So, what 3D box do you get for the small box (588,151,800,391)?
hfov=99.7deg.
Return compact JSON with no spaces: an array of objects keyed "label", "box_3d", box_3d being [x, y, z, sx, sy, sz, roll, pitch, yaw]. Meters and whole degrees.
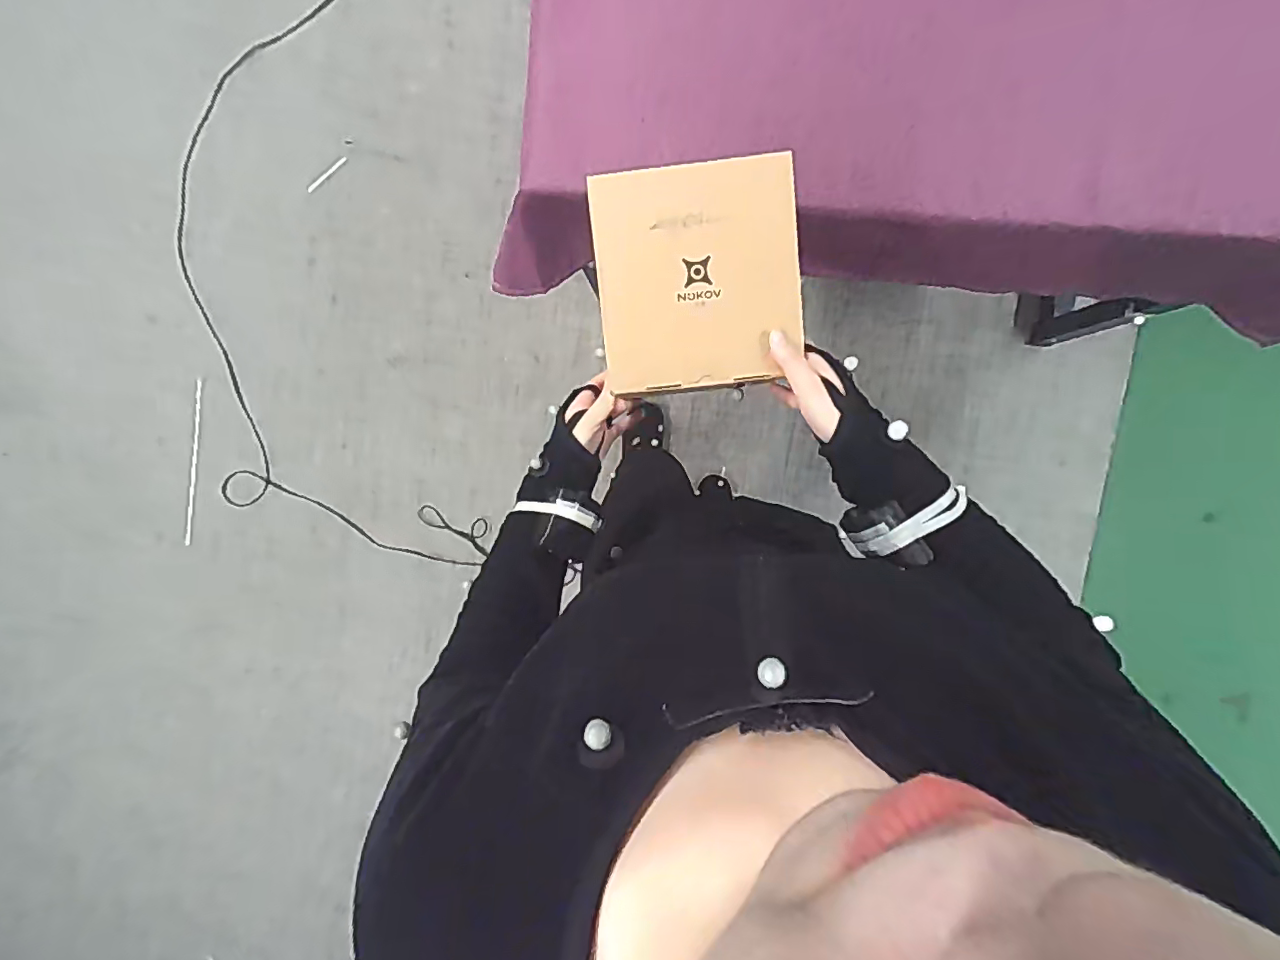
[{"label":"small box","box_3d":[0.048,-0.180,0.521,0.168,0.176,0.179,-6,97,1]}]
